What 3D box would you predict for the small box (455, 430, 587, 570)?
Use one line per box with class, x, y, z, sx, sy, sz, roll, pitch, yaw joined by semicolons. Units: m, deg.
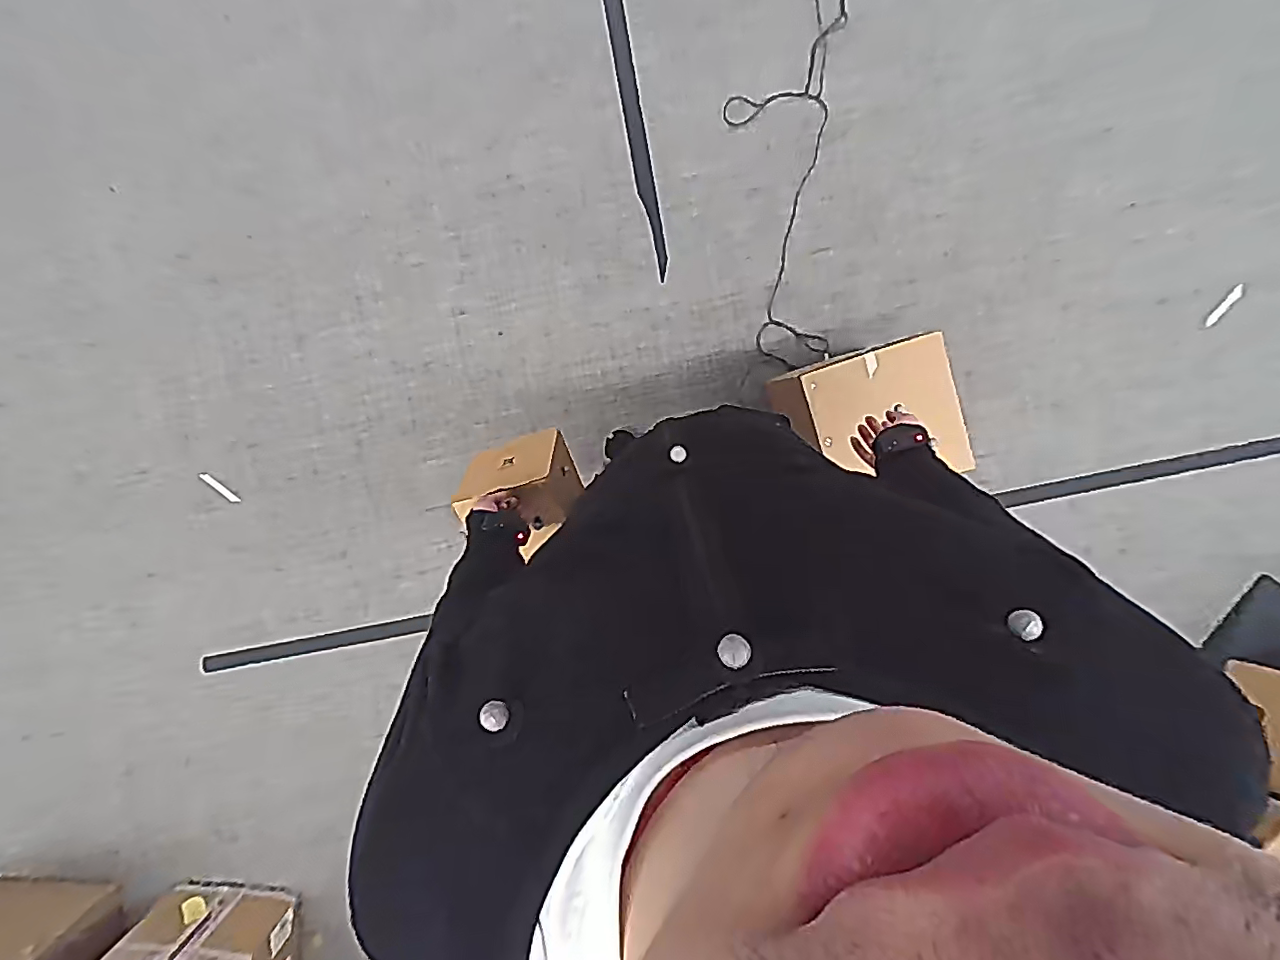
small box;-0.198;0.041;0.960;0.168;0.179;0.176;-14;122;6
